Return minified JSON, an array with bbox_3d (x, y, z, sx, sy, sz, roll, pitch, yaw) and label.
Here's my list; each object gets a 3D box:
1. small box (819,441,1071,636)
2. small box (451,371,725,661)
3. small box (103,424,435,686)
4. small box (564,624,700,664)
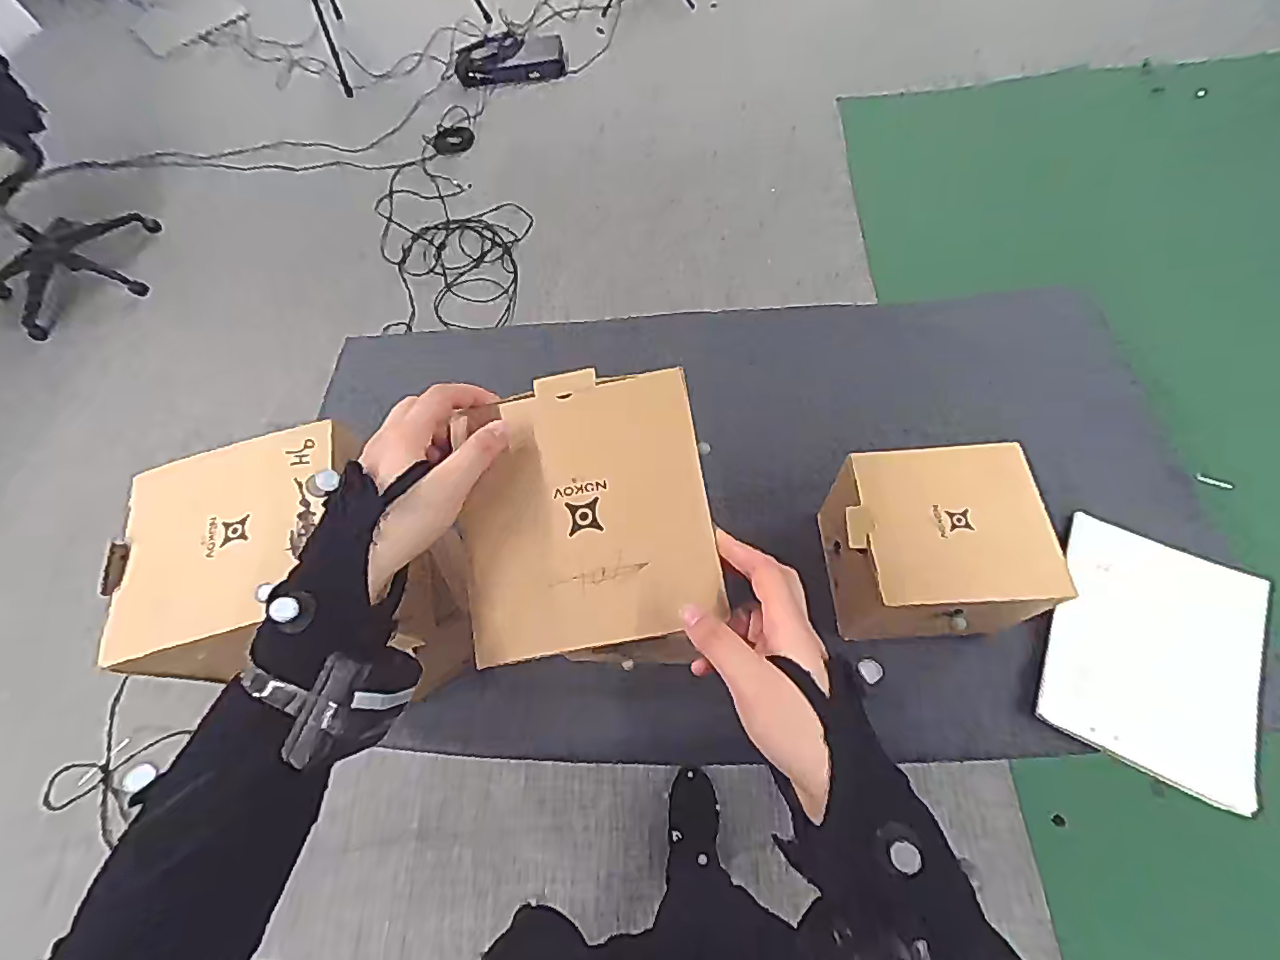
[{"bbox_3d":[0.314,0.073,0.603,0.179,0.176,0.168,-5,63,6],"label":"small box"},{"bbox_3d":[-0.035,0.036,0.441,0.168,0.176,0.179,-11,79,2],"label":"small box"},{"bbox_3d":[-0.315,0.080,0.498,0.179,0.176,0.168,-17,63,0],"label":"small box"},{"bbox_3d":[-0.014,0.109,0.628,0.168,0.176,0.179,-1,64,8],"label":"small box"}]
